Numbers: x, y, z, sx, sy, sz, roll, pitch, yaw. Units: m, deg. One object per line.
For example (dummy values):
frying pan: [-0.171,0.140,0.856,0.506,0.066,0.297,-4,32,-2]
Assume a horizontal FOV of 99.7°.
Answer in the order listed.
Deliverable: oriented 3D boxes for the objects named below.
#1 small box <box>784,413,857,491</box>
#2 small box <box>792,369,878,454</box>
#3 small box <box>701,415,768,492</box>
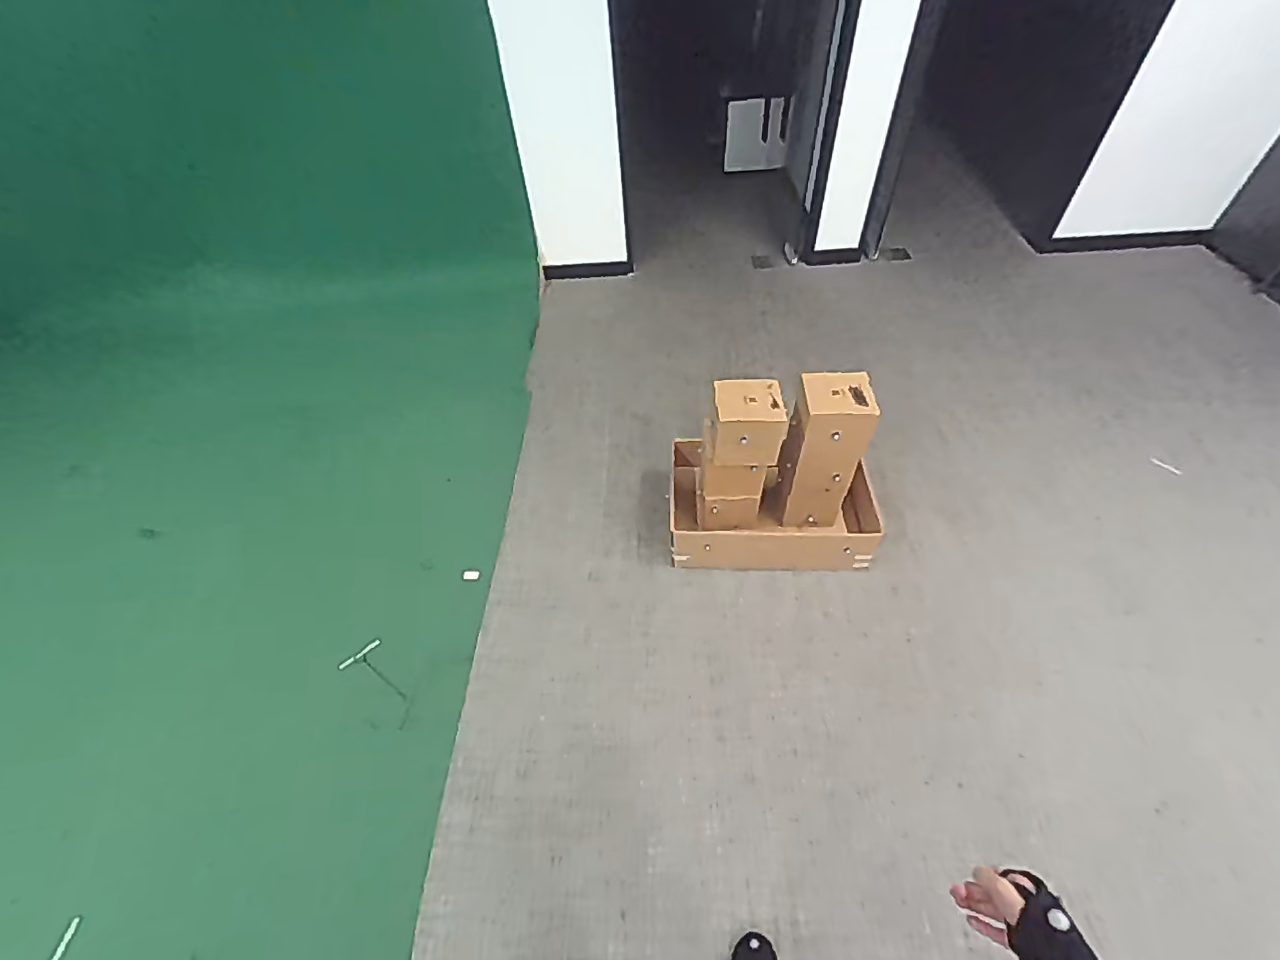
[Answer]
small box: [0.527,-0.081,1.598,0.168,0.176,0.179,0,50,5]
small box: [0.521,-0.182,1.469,0.179,0.176,0.168,0,50,5]
small box: [0.274,-0.075,1.614,0.179,0.176,0.168,-1,50,1]
